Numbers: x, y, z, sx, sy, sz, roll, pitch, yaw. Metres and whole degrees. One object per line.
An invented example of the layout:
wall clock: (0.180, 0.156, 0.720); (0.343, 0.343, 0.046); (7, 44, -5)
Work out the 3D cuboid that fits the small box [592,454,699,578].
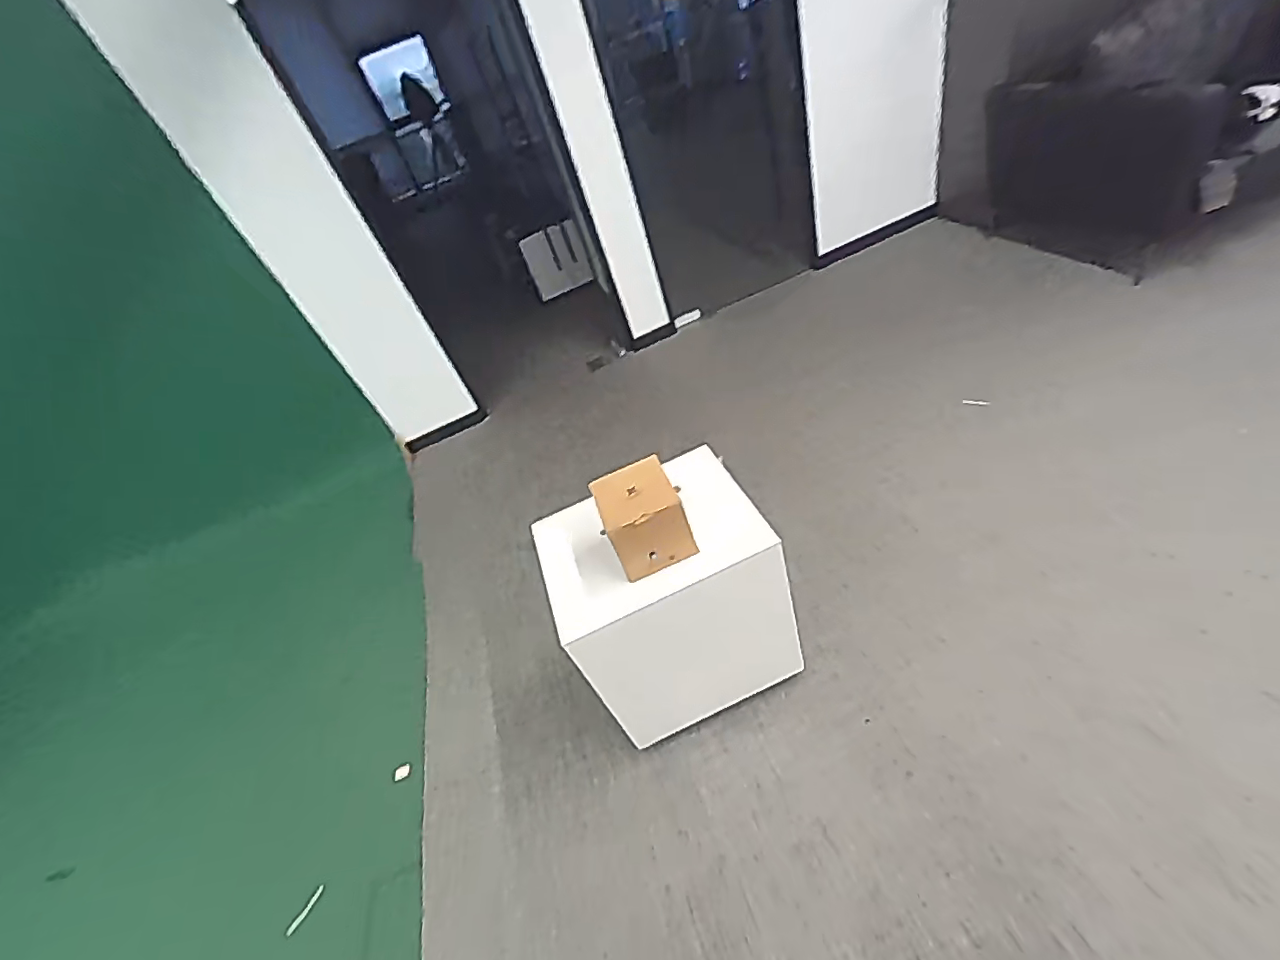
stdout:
small box: (0.012, 0.080, 1.183); (0.168, 0.176, 0.179); (-24, 39, -2)
